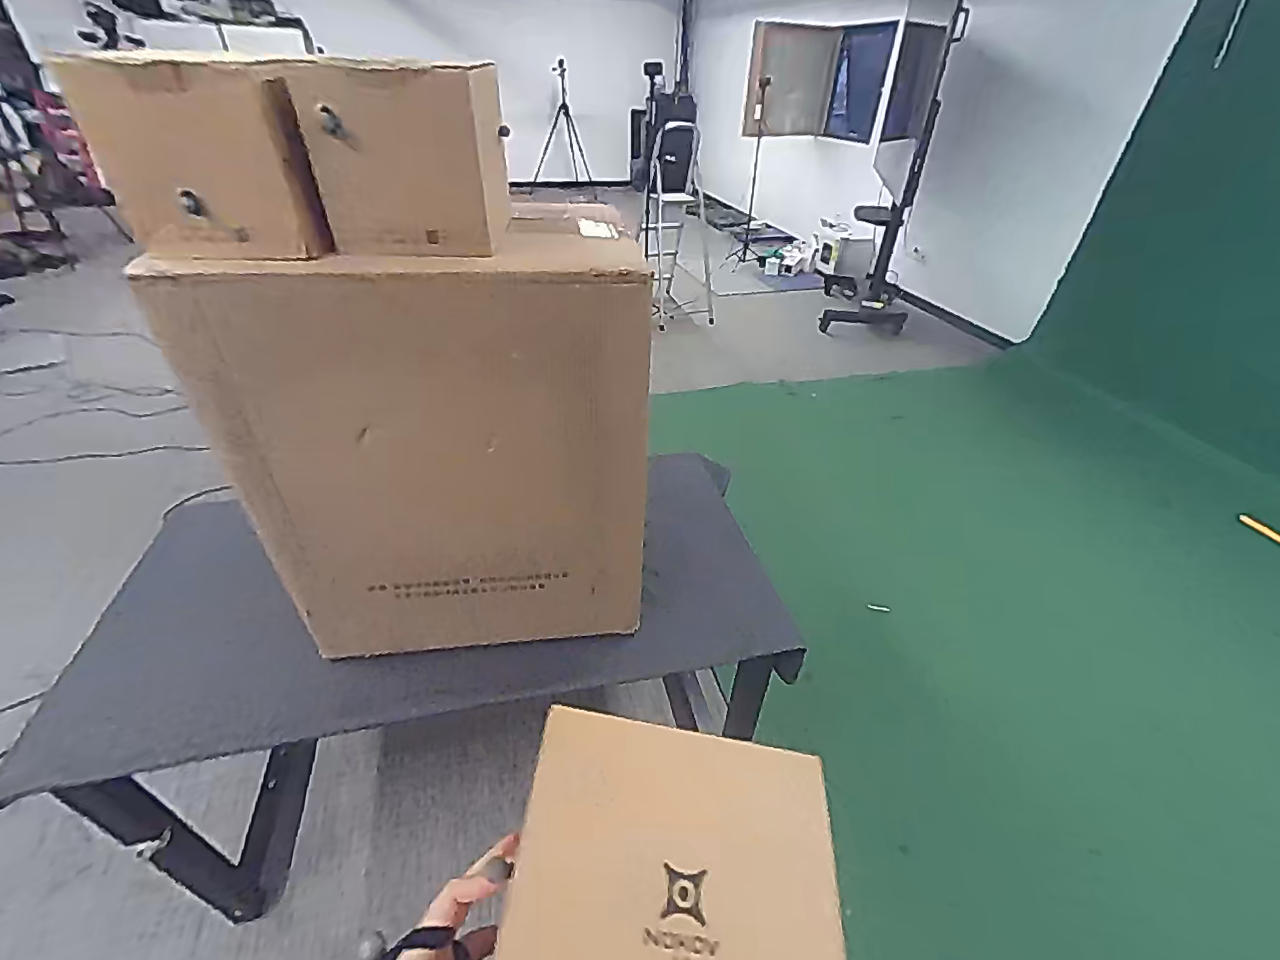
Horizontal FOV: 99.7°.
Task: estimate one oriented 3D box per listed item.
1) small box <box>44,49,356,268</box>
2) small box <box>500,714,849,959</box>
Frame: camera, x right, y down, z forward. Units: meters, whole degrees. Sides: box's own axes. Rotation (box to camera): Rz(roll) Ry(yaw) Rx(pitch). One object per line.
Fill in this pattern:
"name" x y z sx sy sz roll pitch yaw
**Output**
"small box" -0.422 -0.336 0.565 0.168 0.176 0.179 -1 40 -5
"small box" 0.007 0.270 0.320 0.168 0.176 0.179 13 46 -4
